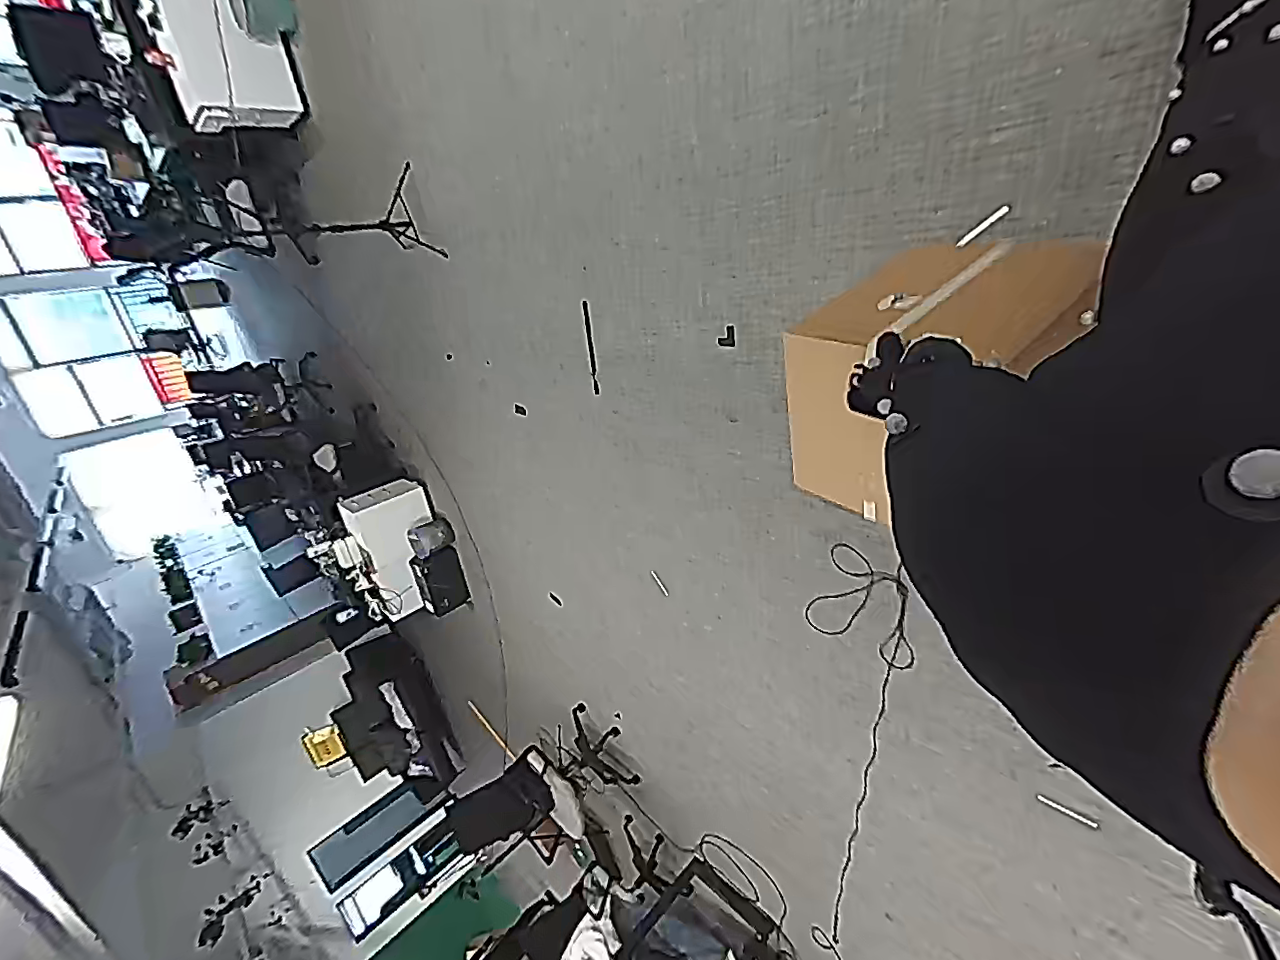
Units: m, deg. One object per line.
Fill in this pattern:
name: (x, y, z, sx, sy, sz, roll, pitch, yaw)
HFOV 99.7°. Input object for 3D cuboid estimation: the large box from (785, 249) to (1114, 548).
large box: (0.500, -0.161, 0.910, 0.320, 0.408, 0.320, 28, 143, 46)
